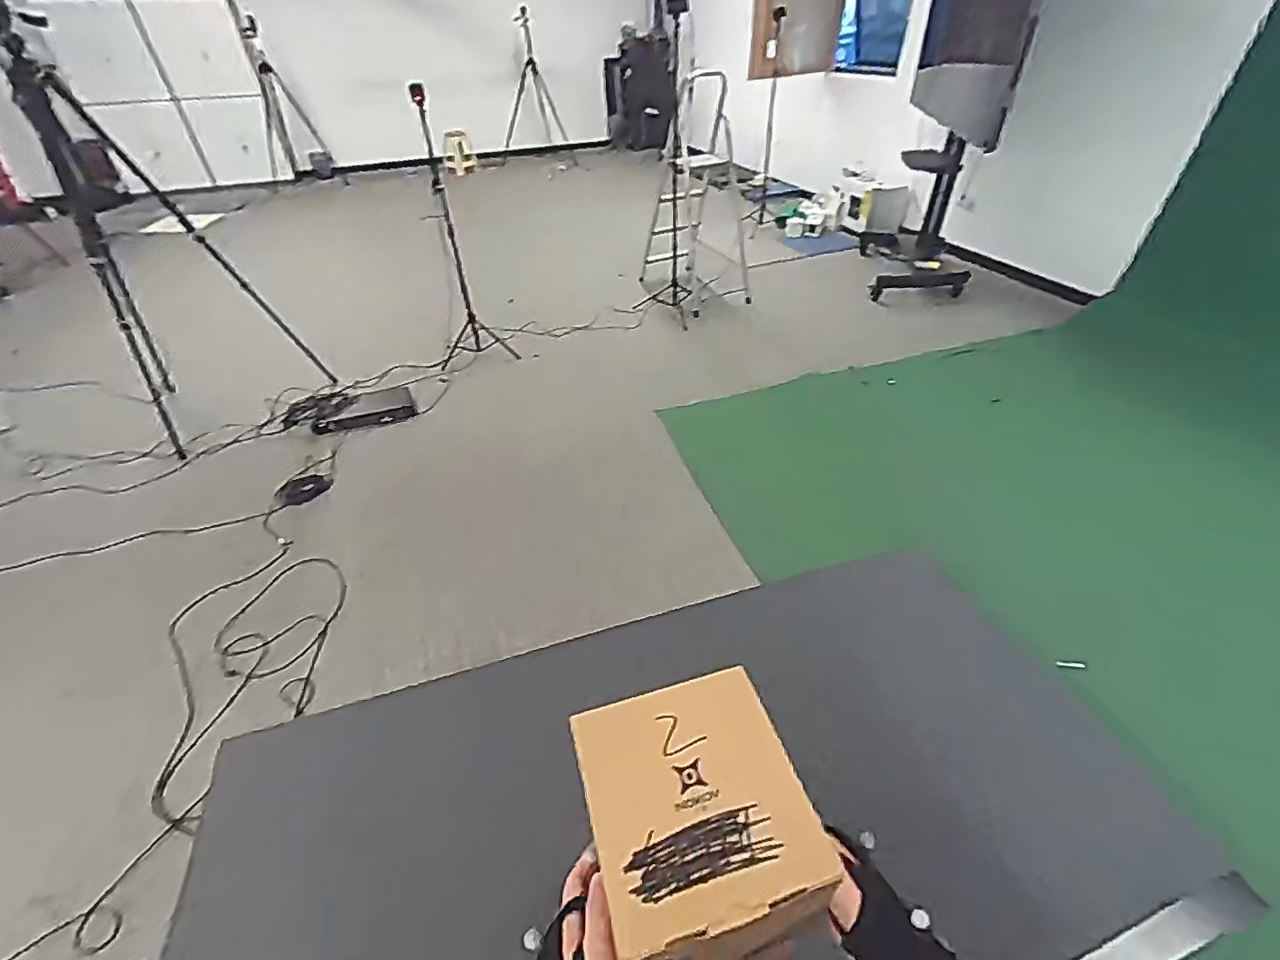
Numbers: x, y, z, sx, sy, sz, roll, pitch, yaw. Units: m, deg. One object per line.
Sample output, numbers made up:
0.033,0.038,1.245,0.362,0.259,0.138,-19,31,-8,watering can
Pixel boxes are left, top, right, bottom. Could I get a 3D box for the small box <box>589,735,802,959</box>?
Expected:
0.046,0.415,0.577,0.168,0.176,0.179,-12,40,-11,small box
